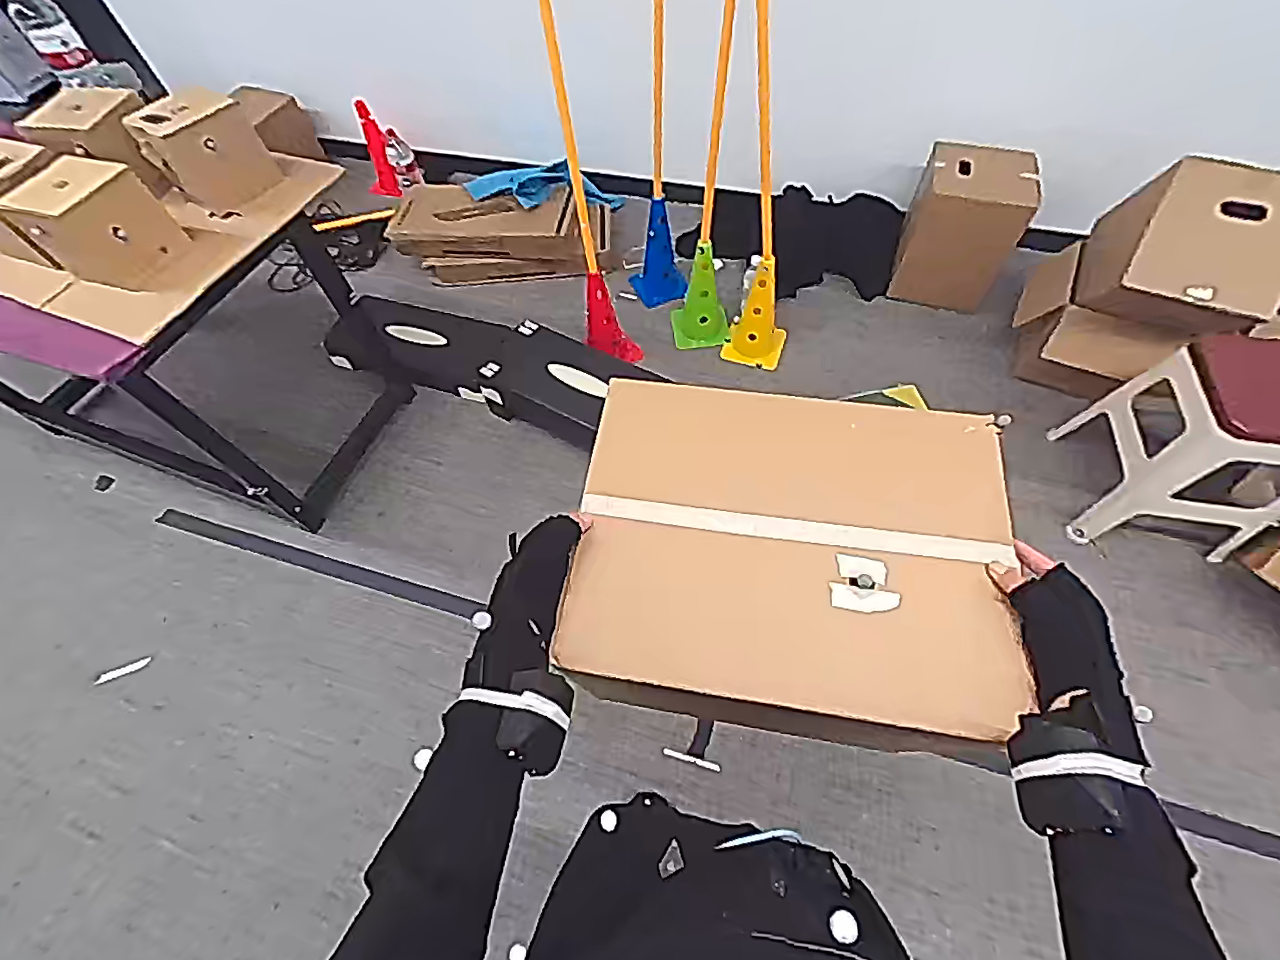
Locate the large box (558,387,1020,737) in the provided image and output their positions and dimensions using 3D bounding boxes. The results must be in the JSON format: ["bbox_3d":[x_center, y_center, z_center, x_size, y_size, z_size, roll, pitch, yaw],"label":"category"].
[{"bbox_3d":[0.146,0.115,0.663,0.408,0.320,0.320,7,65,6],"label":"large box"}]
